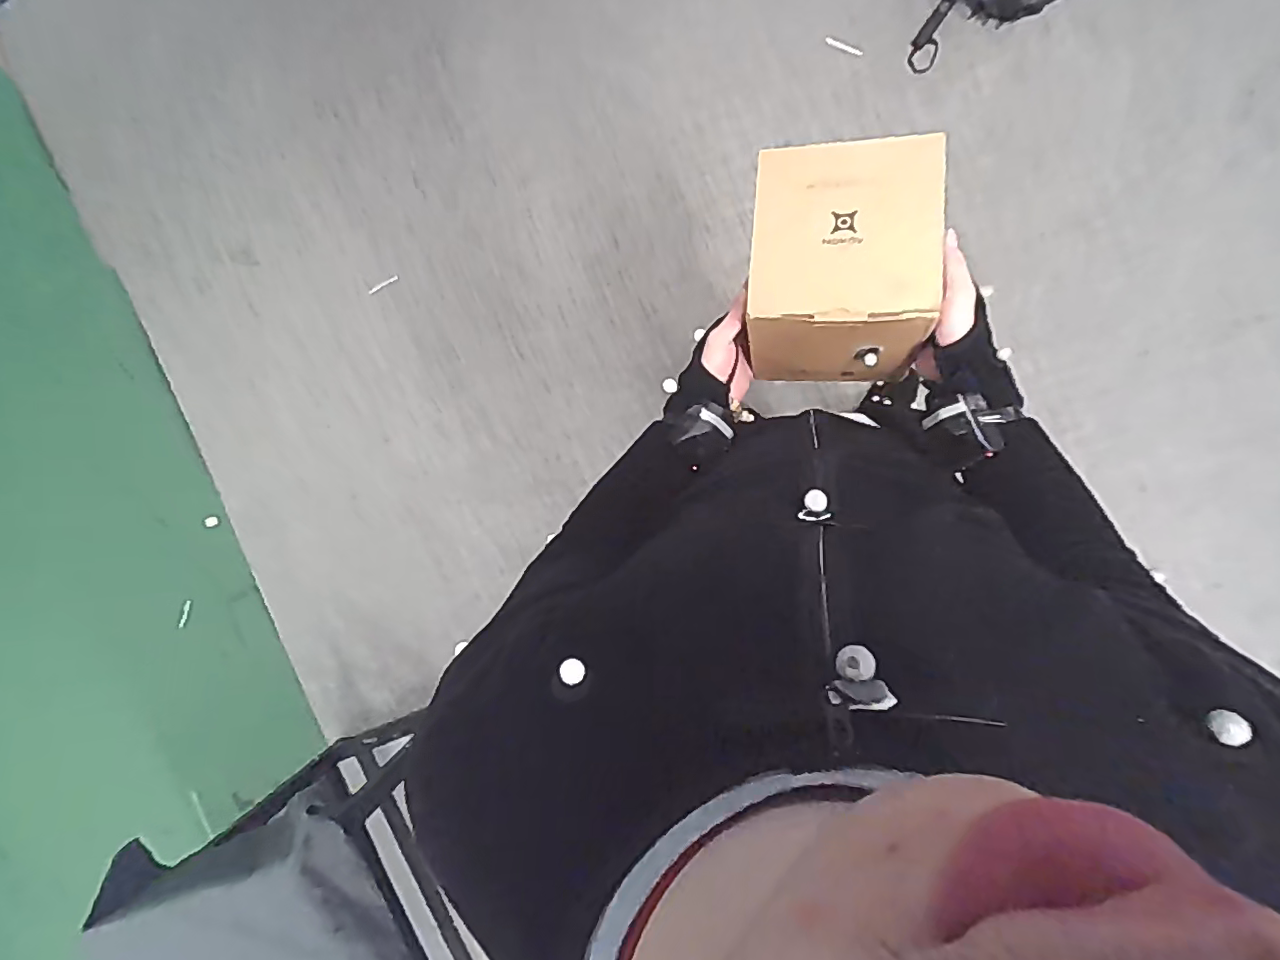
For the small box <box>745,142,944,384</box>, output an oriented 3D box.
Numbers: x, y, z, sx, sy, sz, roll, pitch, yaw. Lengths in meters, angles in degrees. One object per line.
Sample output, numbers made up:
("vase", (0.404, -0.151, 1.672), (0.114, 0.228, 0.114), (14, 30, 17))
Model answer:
("small box", (0.204, -0.210, 0.569), (0.168, 0.176, 0.179), (4, 78, 13))
